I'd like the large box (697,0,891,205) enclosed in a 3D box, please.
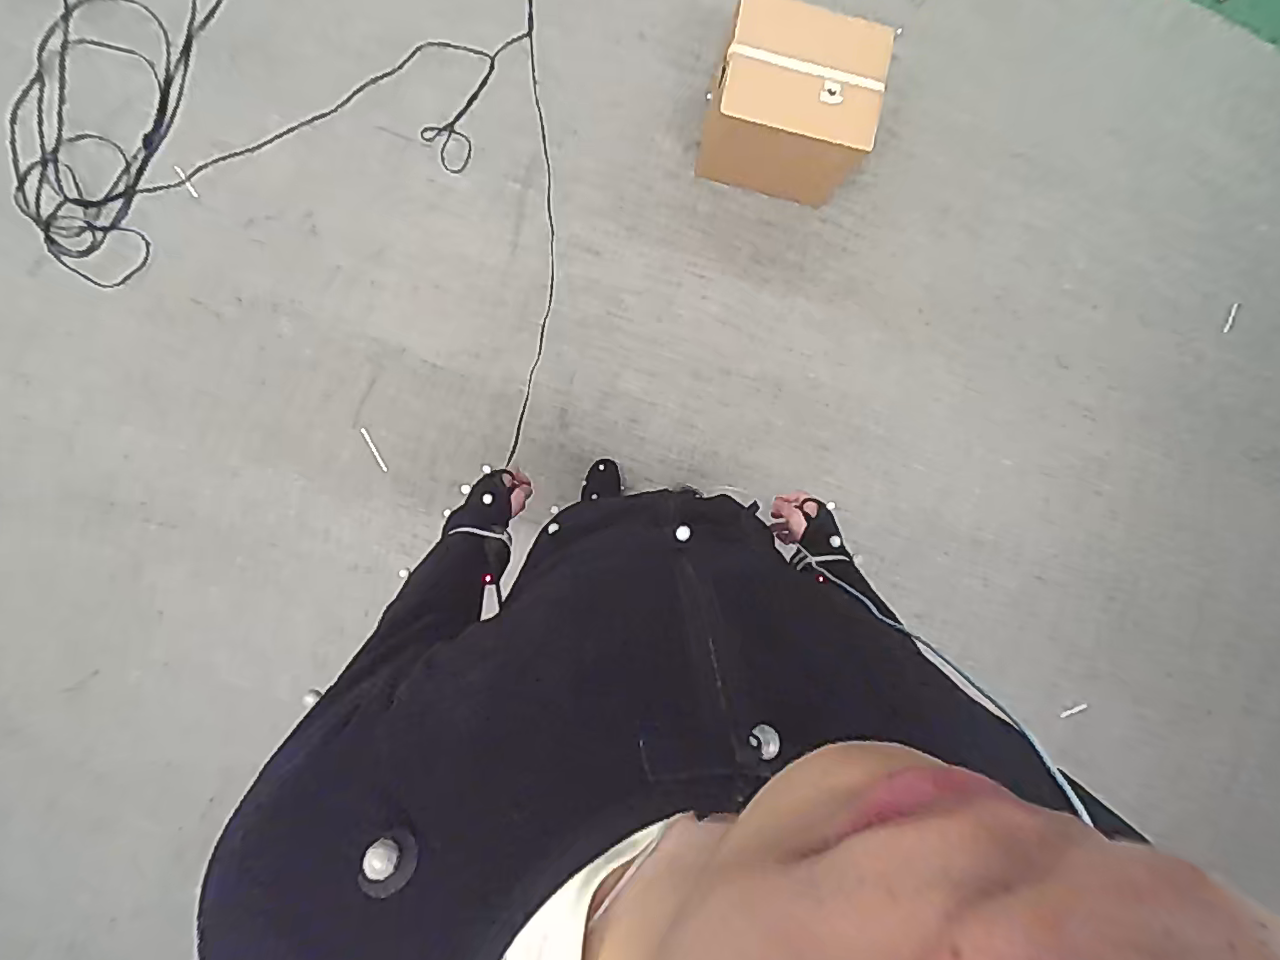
[{"bbox_3d":[0.401,-1.019,1.494,0.408,0.320,0.320,11,91,-6],"label":"large box"}]
